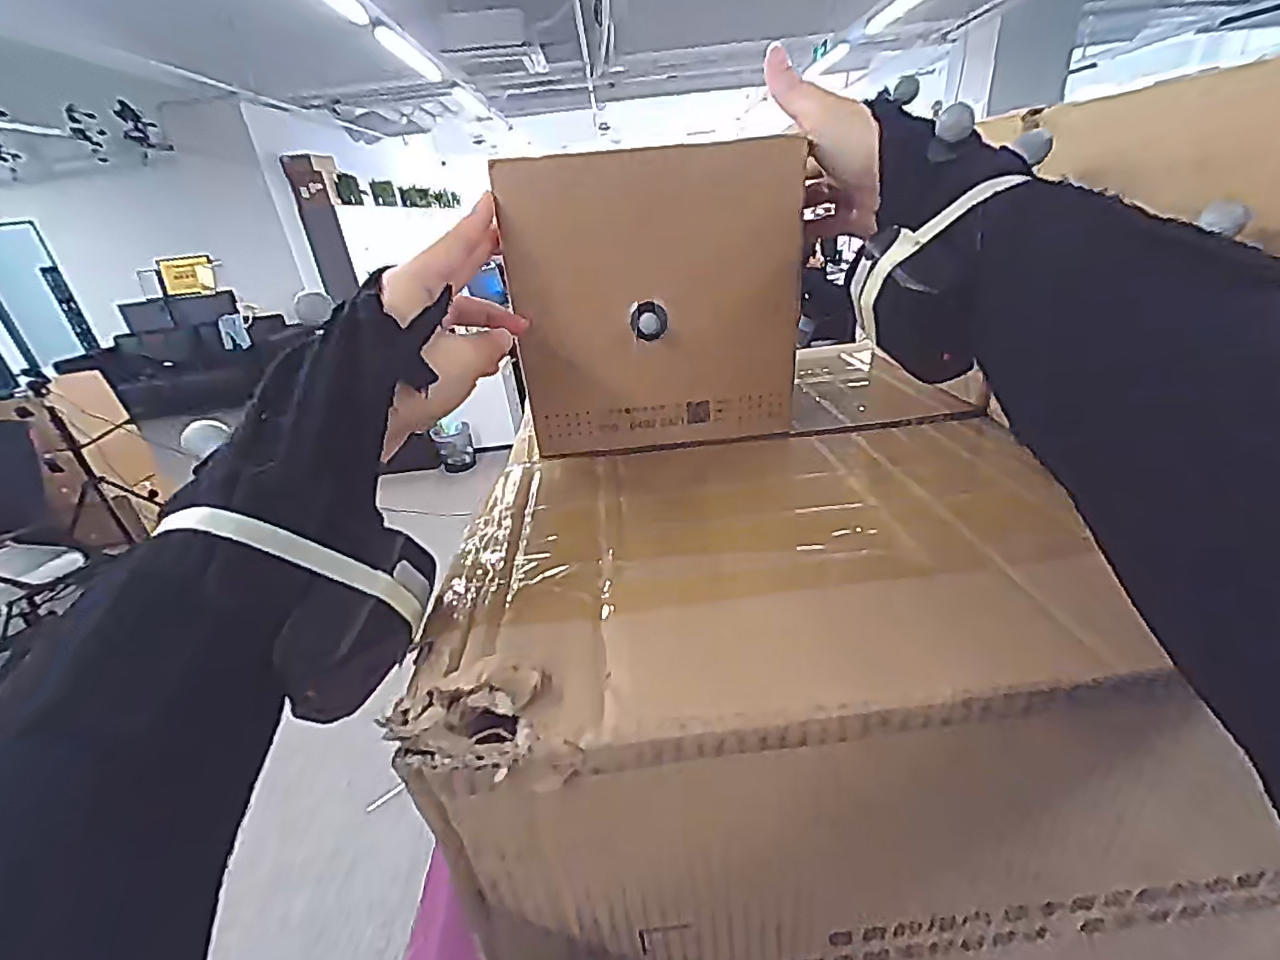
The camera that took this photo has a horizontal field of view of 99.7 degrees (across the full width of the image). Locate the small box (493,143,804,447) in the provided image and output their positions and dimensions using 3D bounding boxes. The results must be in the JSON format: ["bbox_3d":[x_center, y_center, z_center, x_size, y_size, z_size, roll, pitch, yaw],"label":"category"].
[{"bbox_3d":[0.008,-0.128,0.385,0.168,0.176,0.179,-5,27,-1],"label":"small box"}]
